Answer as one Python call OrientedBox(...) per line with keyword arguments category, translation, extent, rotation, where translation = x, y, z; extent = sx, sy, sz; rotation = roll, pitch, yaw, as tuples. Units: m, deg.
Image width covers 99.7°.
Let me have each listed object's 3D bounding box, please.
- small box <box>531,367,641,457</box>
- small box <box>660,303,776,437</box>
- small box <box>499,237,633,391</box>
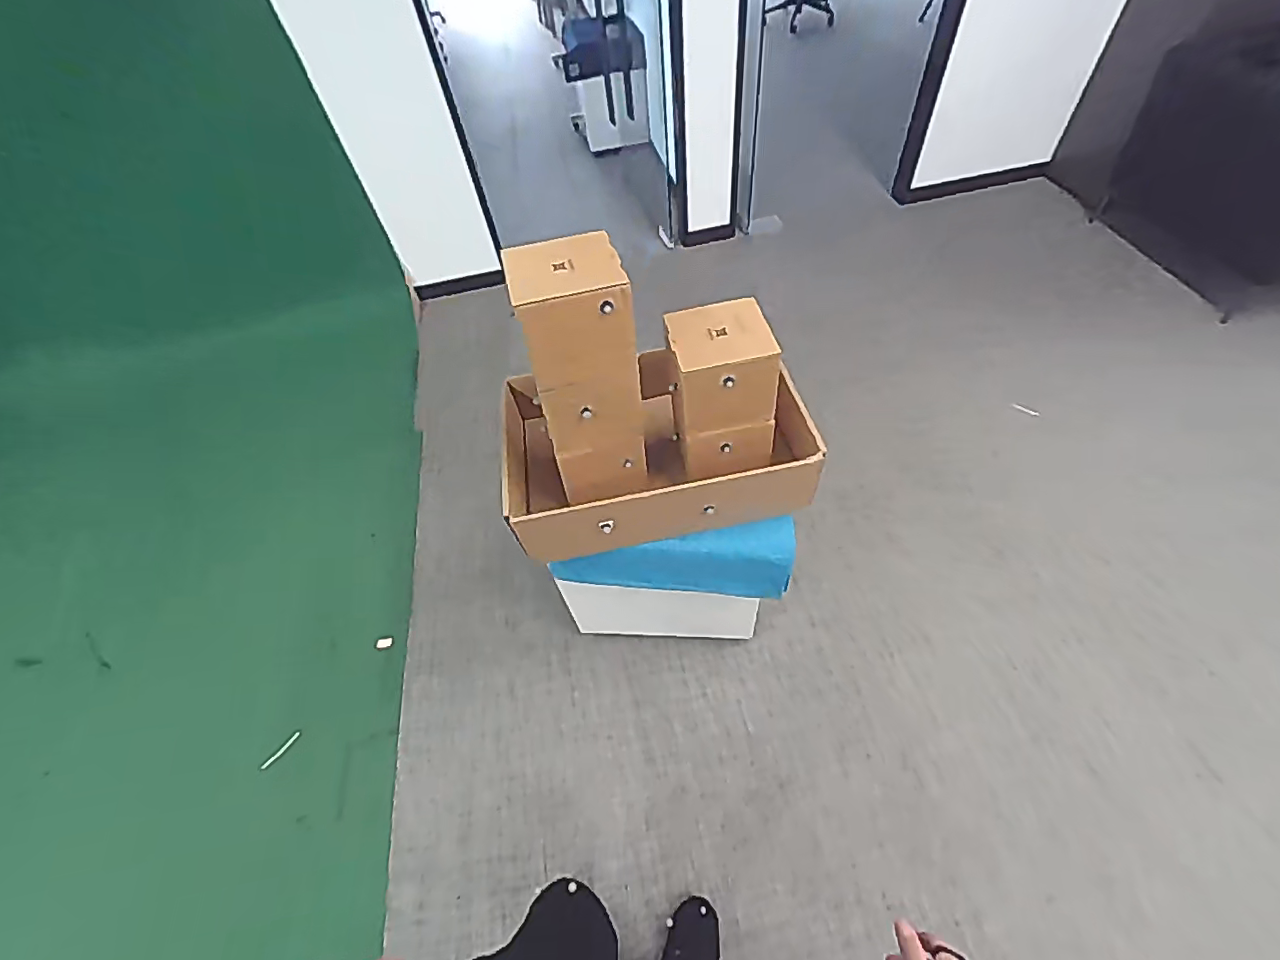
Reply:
OrientedBox(category="small box", translation=(-0.105, -0.166, 1.015), extent=(0.179, 0.176, 0.168), rotation=(-14, 53, -6))
OrientedBox(category="small box", translation=(0.142, -0.199, 1.010), extent=(0.179, 0.176, 0.168), rotation=(-11, 52, -1))
OrientedBox(category="small box", translation=(-0.118, -0.267, 0.888), extent=(0.179, 0.176, 0.168), rotation=(-14, 52, -7))
